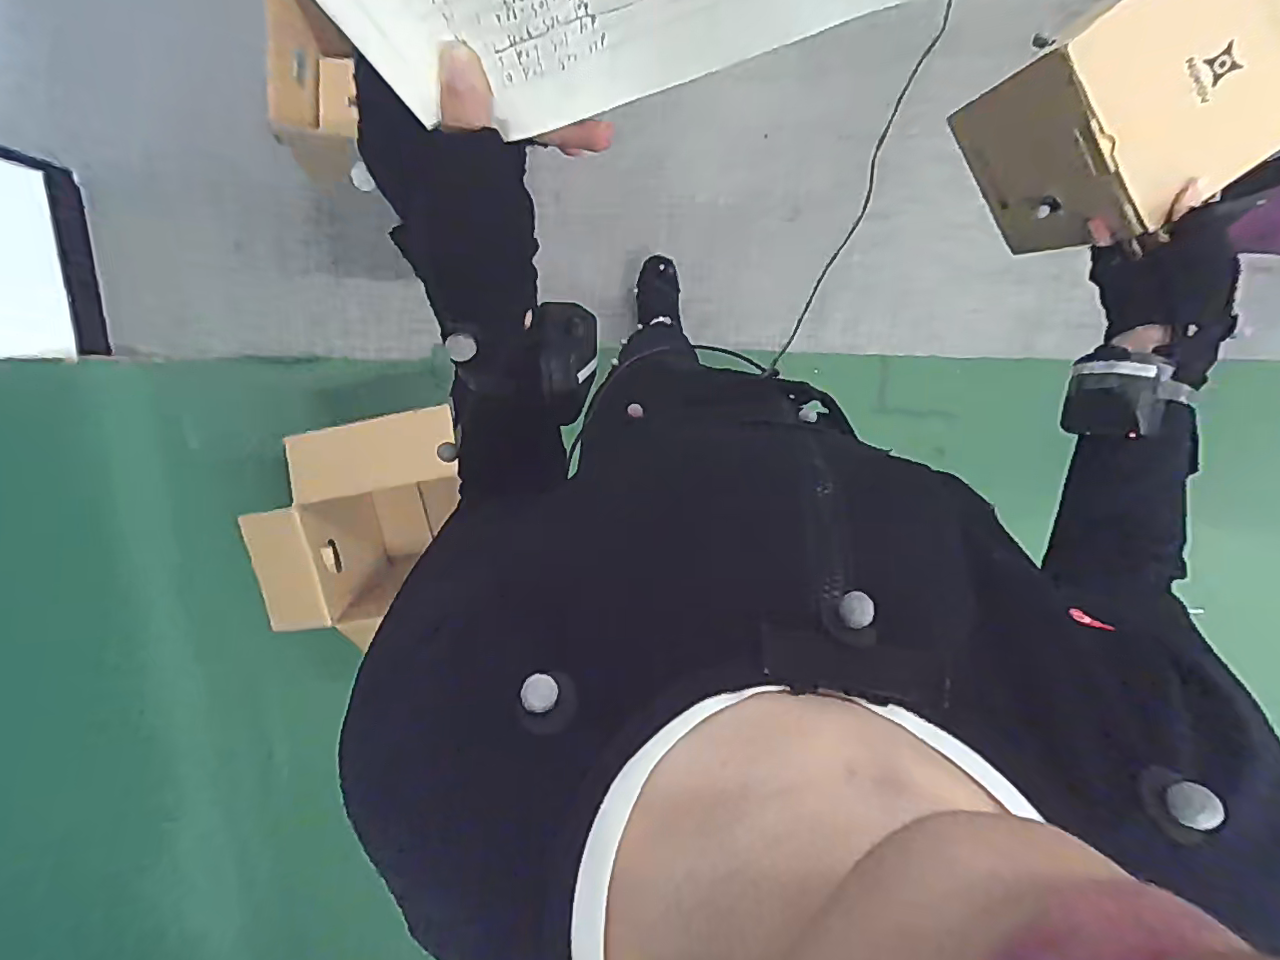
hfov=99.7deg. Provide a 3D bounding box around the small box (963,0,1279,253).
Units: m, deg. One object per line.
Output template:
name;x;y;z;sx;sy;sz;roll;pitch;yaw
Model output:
small box;0.431;-0.328;0.485;0.179;0.176;0.168;-34;104;10
